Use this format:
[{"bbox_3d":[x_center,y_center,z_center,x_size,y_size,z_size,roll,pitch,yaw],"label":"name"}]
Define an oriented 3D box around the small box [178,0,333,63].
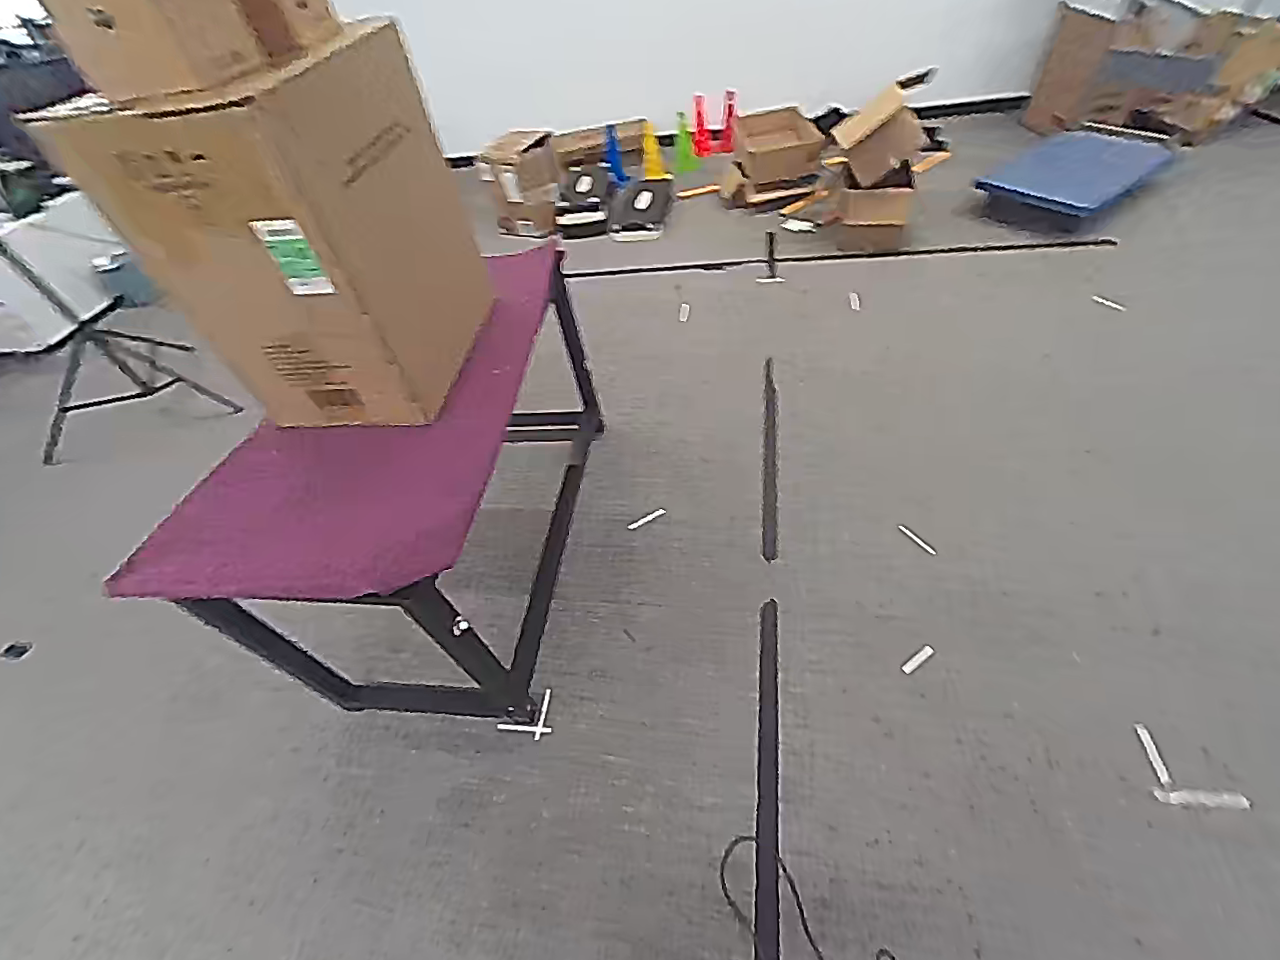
[{"bbox_3d":[-0.690,-0.859,0.949,0.179,0.176,0.168,-2,50,7],"label":"small box"}]
